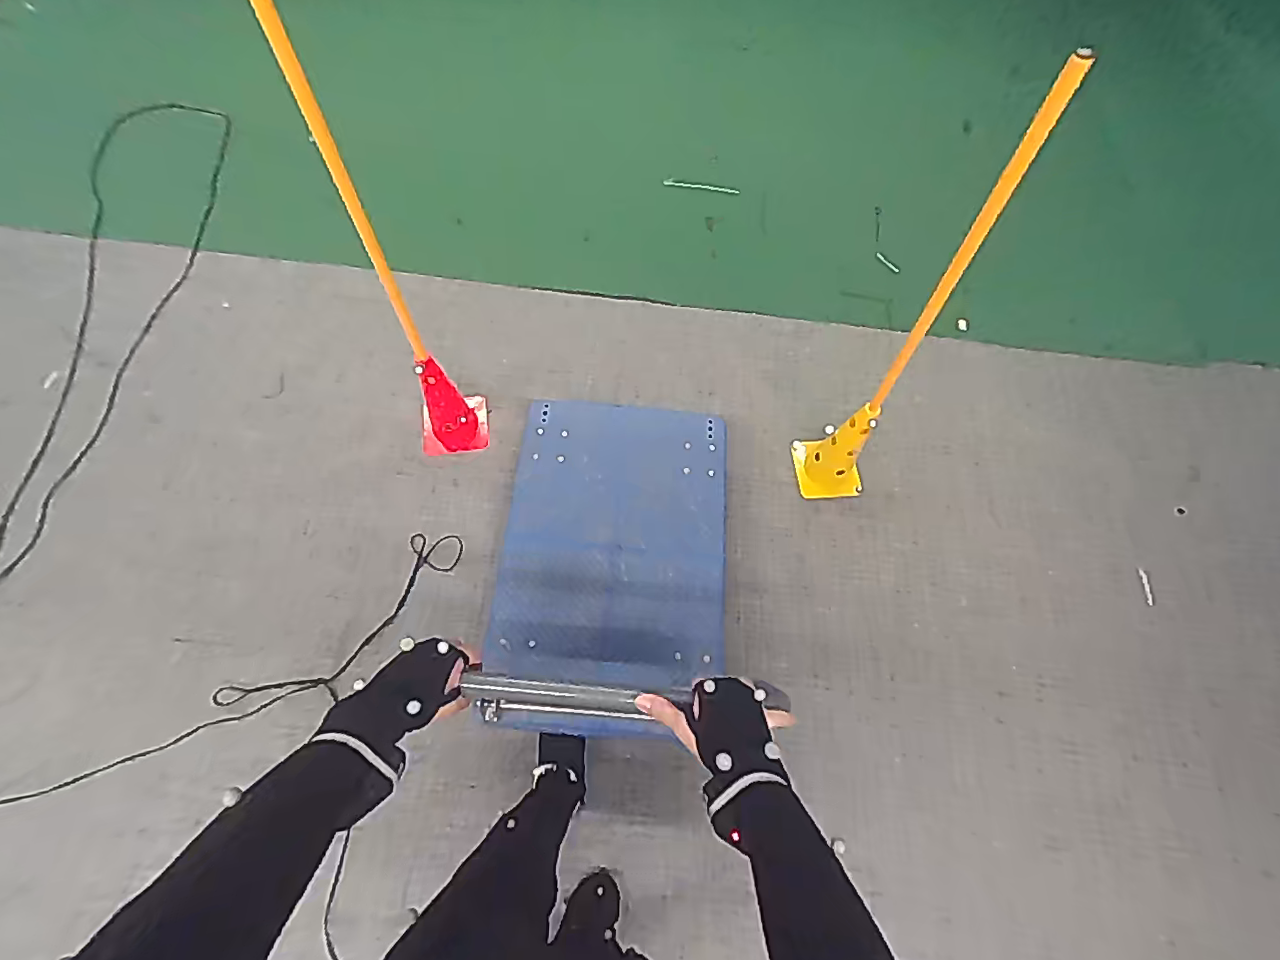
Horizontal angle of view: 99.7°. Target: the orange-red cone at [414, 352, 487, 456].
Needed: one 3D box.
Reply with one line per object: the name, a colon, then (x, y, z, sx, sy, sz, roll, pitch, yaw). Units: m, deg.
orange-red cone: (-0.576, -0.239, 1.553, 0.199, 0.360, 0.198, -7, 65, -5)
